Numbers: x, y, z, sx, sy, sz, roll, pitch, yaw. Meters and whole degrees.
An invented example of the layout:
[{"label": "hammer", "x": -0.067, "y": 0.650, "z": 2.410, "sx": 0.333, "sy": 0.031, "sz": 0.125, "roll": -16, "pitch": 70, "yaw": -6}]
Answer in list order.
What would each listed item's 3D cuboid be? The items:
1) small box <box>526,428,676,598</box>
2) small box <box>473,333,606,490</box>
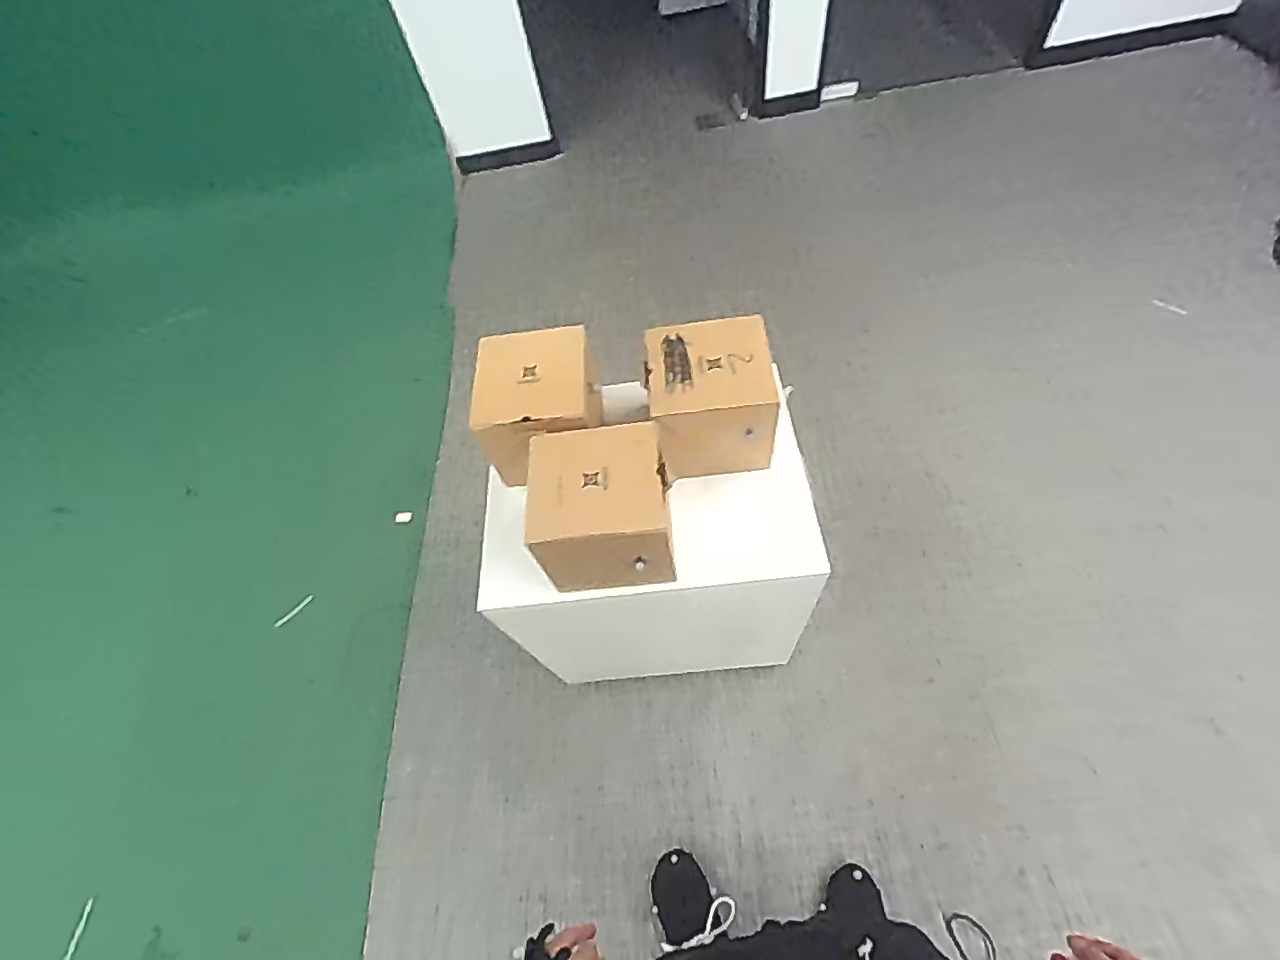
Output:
[{"label": "small box", "x": -0.044, "y": 0.051, "z": 0.744, "sx": 0.179, "sy": 0.176, "sz": 0.168, "roll": -7, "pitch": 56, "yaw": 5}, {"label": "small box", "x": -0.148, "y": -0.105, "z": 0.856, "sx": 0.168, "sy": 0.176, "sz": 0.179, "roll": -6, "pitch": 59, "yaw": 3}]
